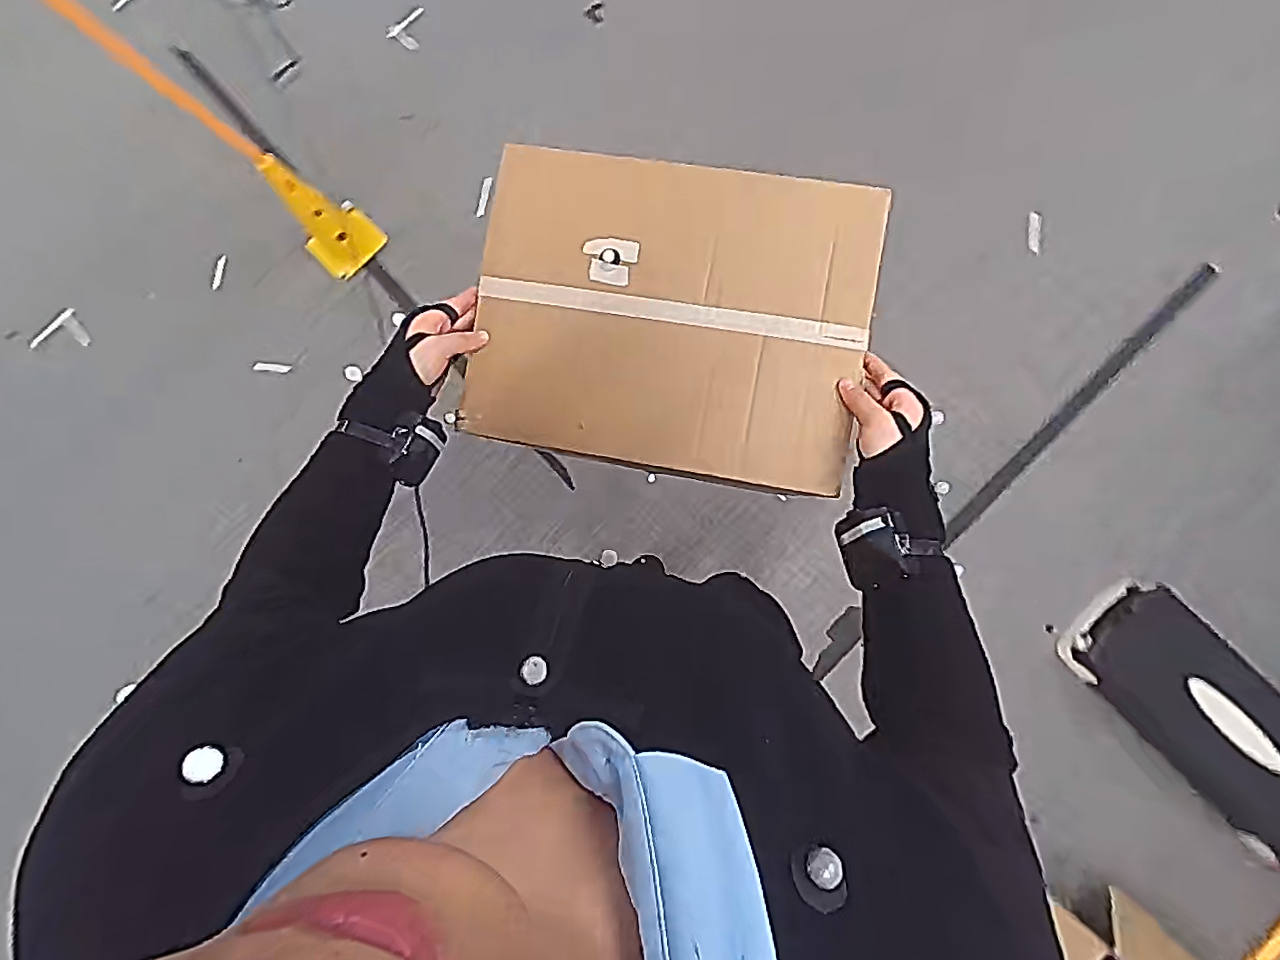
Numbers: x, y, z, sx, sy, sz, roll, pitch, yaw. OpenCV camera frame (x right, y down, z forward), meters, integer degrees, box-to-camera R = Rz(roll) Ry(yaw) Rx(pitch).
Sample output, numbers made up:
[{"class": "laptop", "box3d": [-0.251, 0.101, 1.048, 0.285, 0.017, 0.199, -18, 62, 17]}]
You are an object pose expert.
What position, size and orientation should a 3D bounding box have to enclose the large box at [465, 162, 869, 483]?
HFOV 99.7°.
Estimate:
[{"class": "large box", "box3d": [0.039, -0.171, 0.720, 0.408, 0.320, 0.320, 8, 89, 6]}]
